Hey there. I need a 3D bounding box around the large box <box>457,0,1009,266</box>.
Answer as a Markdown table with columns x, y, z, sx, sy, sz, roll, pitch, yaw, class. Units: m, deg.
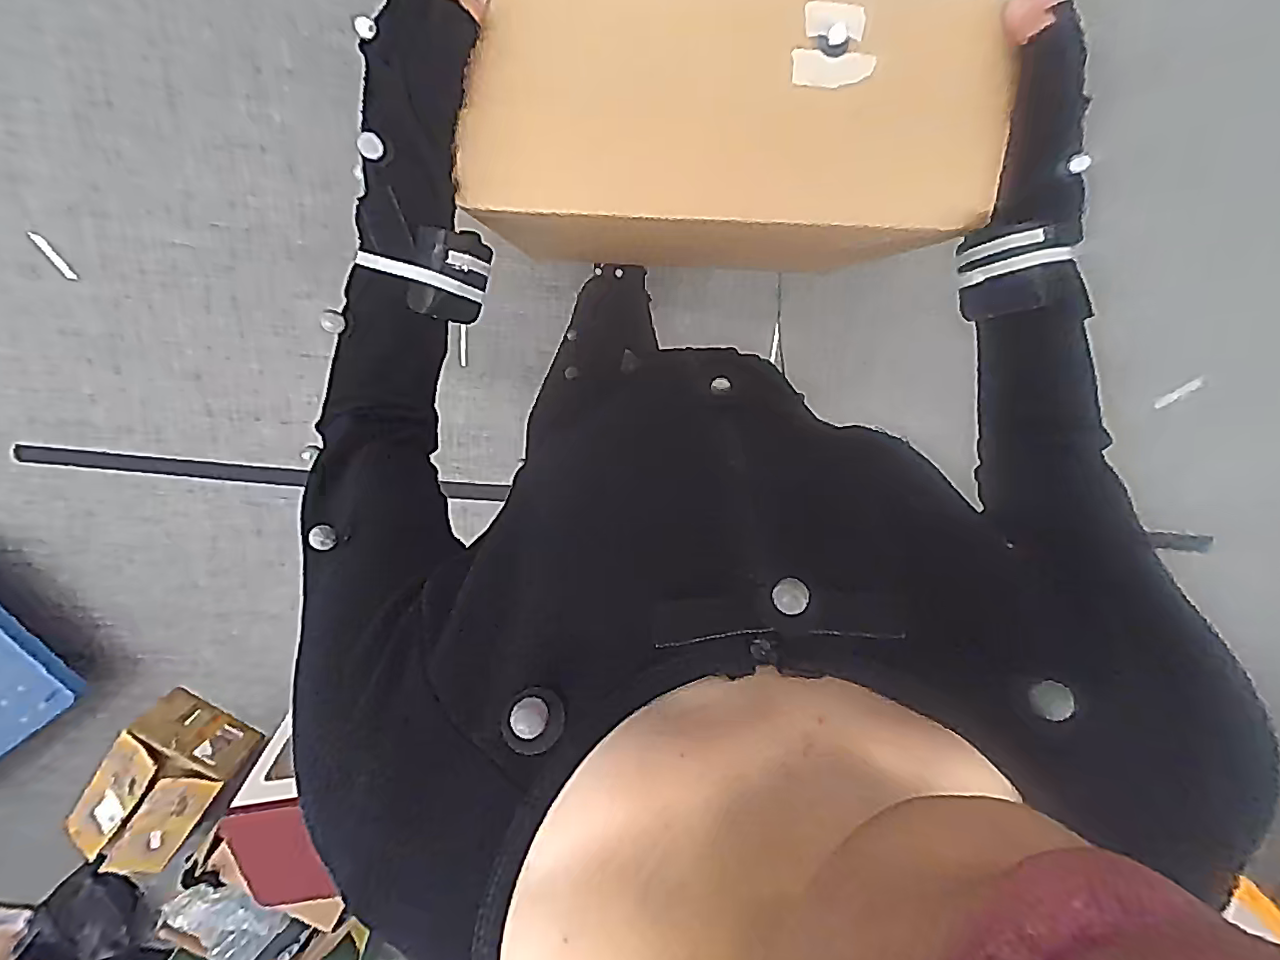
| x | y | z | sx | sy | sz | roll | pitch | yaw | class |
| --- | --- | --- | --- | --- | --- | --- | --- | --- | --- |
| 0.063 | -0.395 | 0.525 | 0.408 | 0.320 | 0.320 | 1 | 105 | -2 | large box |
